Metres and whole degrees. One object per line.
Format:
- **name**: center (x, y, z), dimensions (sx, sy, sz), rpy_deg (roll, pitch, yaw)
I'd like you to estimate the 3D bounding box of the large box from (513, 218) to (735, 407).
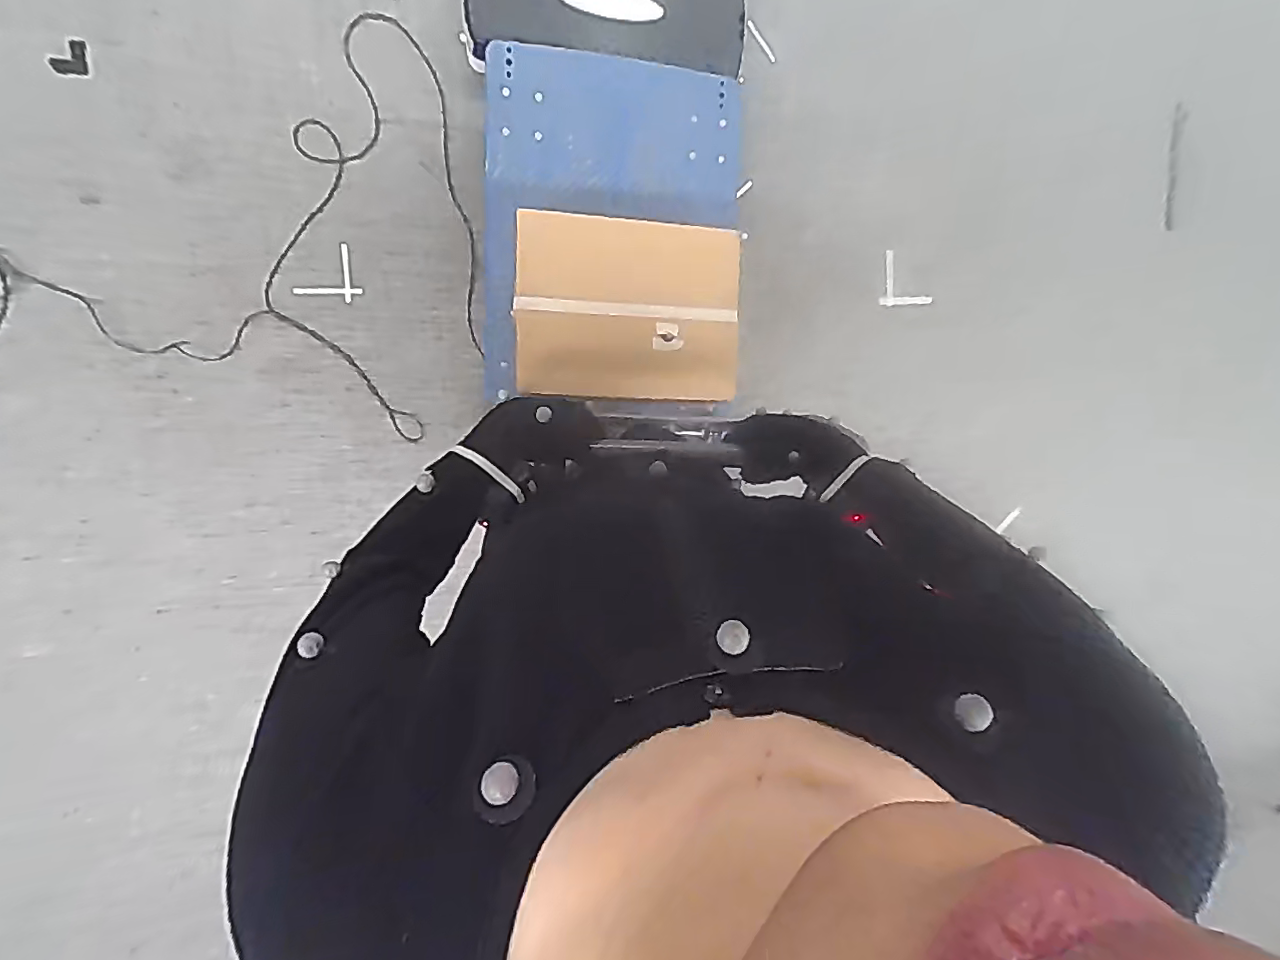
- **large box**: center (-0.052, -0.311, 1.116), dimensions (0.408, 0.320, 0.320), rpy_deg (0, 97, -12)
